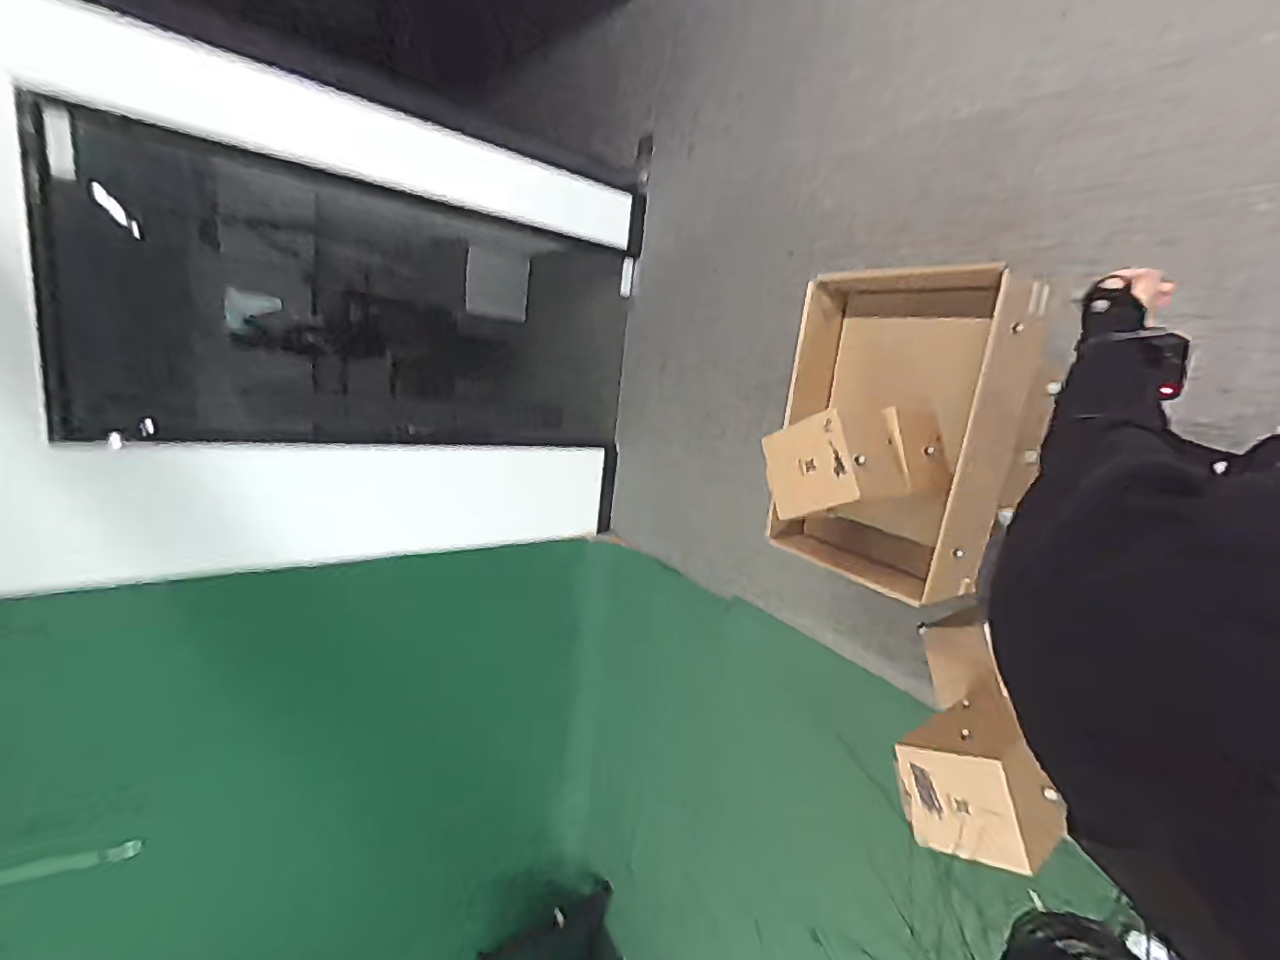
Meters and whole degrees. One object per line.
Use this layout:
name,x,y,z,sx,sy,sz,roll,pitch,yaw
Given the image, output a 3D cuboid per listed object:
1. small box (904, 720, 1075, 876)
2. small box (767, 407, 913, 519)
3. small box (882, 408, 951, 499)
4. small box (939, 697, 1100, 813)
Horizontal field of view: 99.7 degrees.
small box,0.590,0.521,0.918,0.179,0.176,0.168,-23,74,51
small box,0.373,-0.025,1.017,0.179,0.176,0.168,-27,70,52
small box,0.509,-0.044,1.107,0.179,0.176,0.168,-18,76,53
small box,0.716,0.519,1.024,0.179,0.176,0.168,-30,68,51
